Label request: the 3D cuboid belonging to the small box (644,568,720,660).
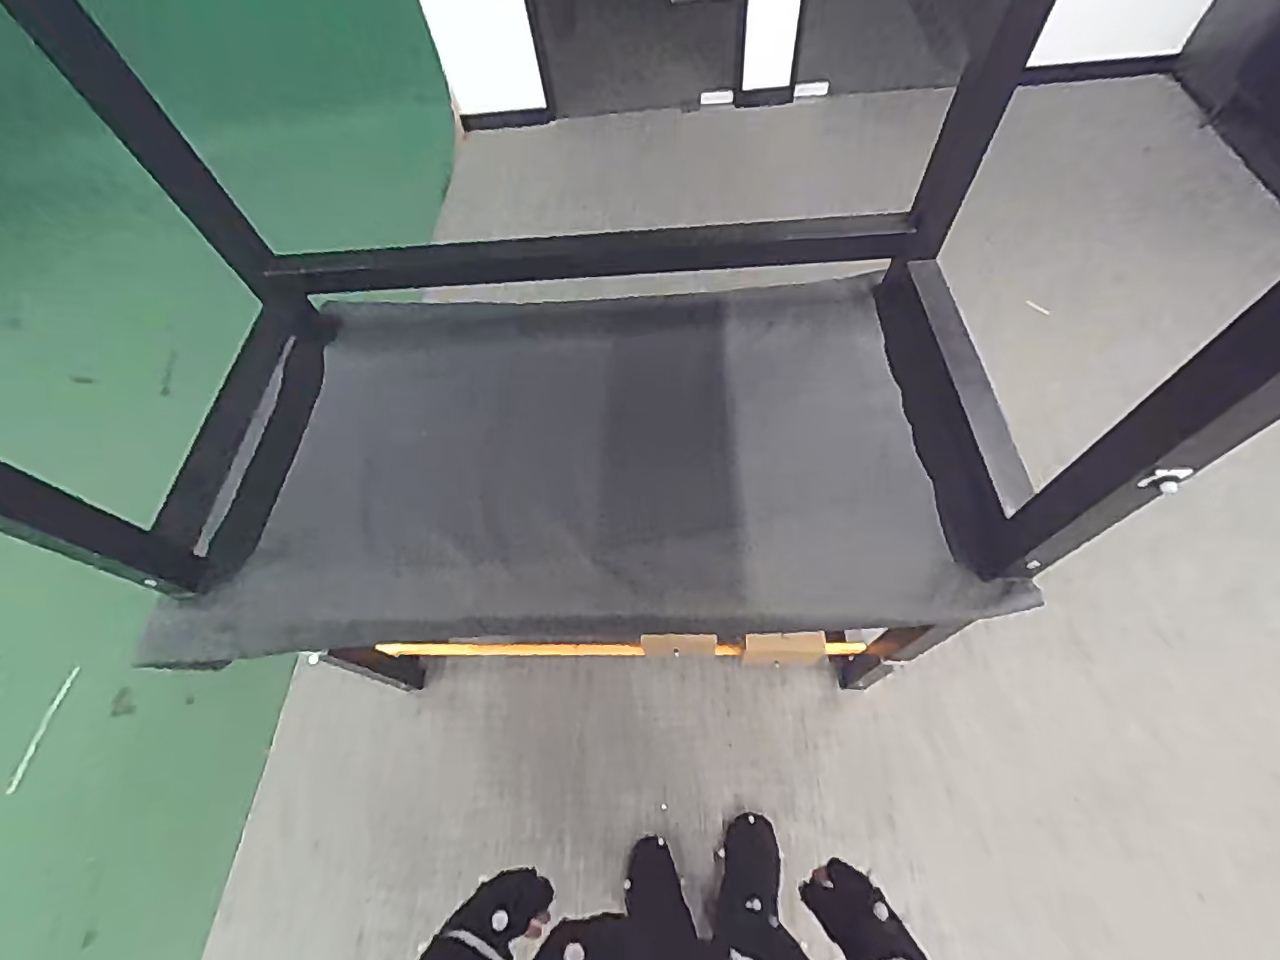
[{"bbox_3d":[0.099,0.317,1.258,0.168,0.176,0.179,-2,60,4],"label":"small box"}]
